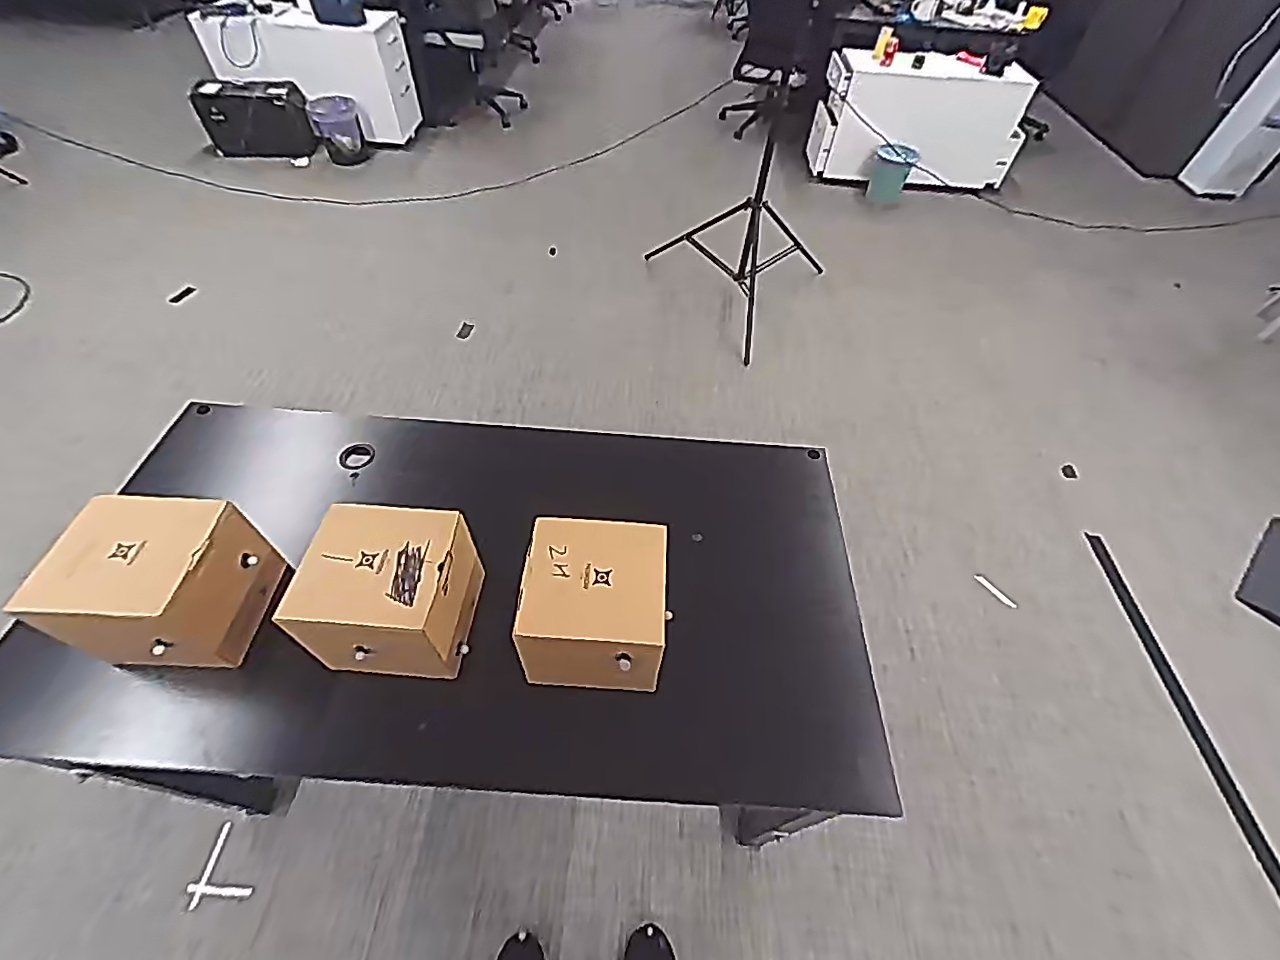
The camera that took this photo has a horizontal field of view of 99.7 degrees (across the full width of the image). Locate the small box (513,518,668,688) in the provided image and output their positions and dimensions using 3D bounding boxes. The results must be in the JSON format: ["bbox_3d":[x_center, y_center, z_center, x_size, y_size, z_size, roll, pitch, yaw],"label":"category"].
[{"bbox_3d":[-0.058,0.170,0.728,0.179,0.176,0.168,3,51,0],"label":"small box"}]

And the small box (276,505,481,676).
[{"bbox_3d":[-0.328,0.153,0.726,0.179,0.176,0.168,4,51,1],"label":"small box"}]

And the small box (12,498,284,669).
[{"bbox_3d":[-0.623,0.142,0.720,0.179,0.176,0.168,2,51,-2],"label":"small box"}]
